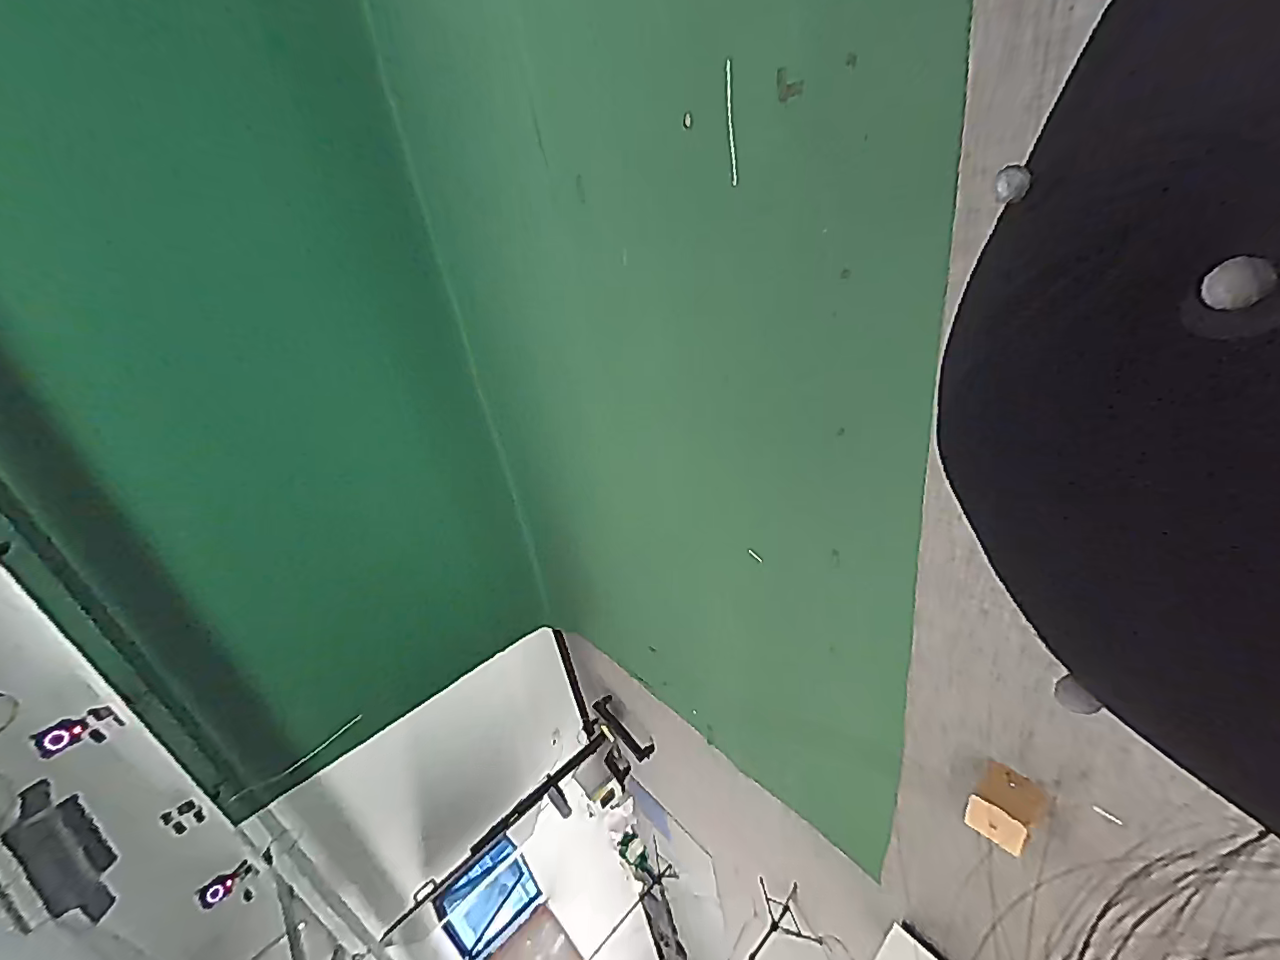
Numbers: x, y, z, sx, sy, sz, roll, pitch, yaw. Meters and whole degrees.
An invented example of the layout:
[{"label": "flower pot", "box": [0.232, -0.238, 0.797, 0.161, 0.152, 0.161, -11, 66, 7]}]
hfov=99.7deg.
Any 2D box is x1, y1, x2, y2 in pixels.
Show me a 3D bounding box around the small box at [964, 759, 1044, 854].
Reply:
[{"label": "small box", "box": [1.226, 1.094, 1.821, 0.168, 0.176, 0.179, 23, 131, 45]}]
